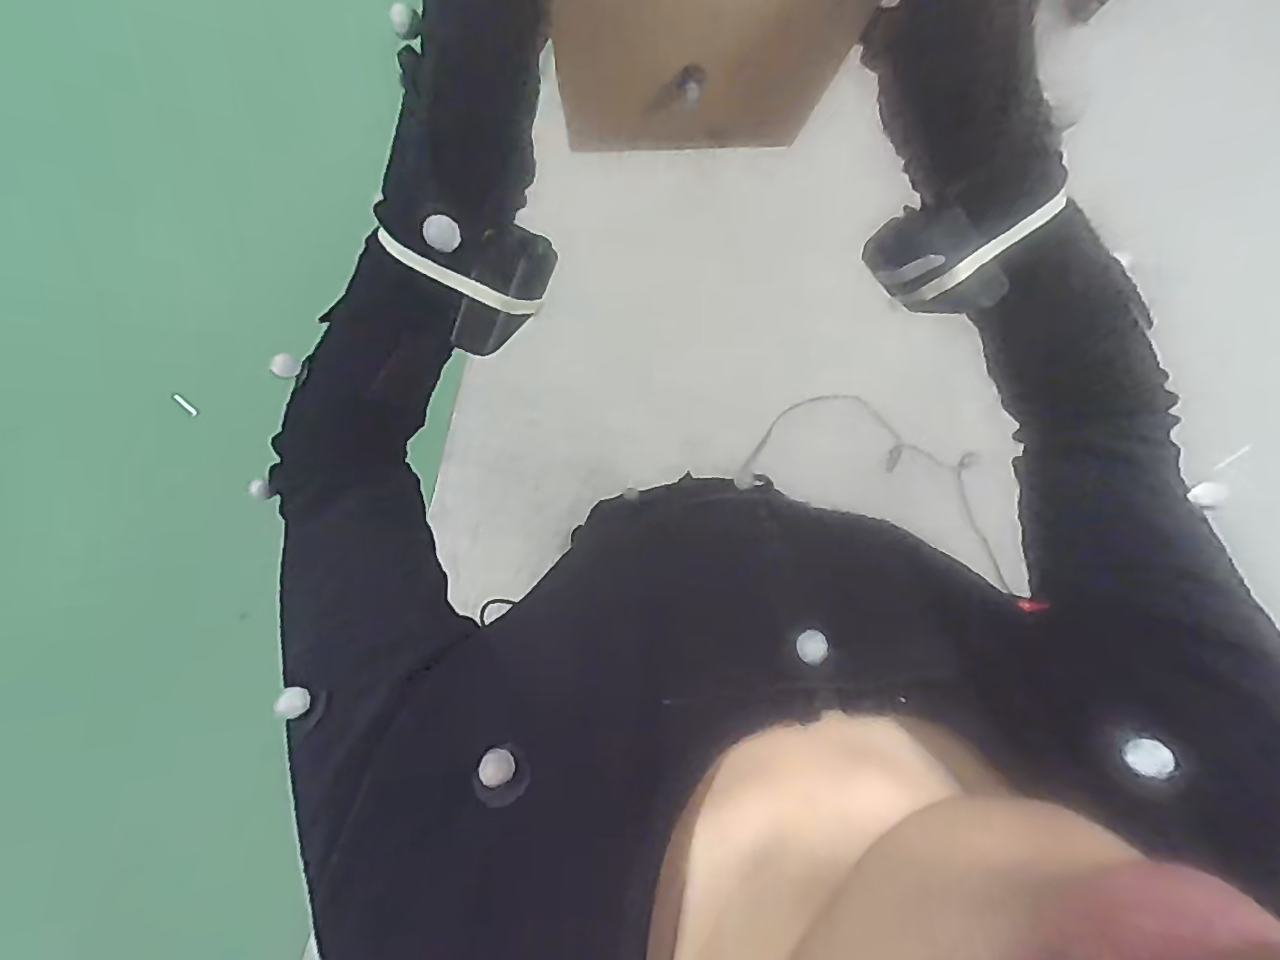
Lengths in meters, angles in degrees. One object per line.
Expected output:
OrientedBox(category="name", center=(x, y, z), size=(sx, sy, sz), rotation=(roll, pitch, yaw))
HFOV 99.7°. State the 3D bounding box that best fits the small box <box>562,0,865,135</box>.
OrientedBox(category="small box", center=(0.037, -0.327, 0.308), size=(0.168, 0.176, 0.179), rotation=(-3, 93, -3))
